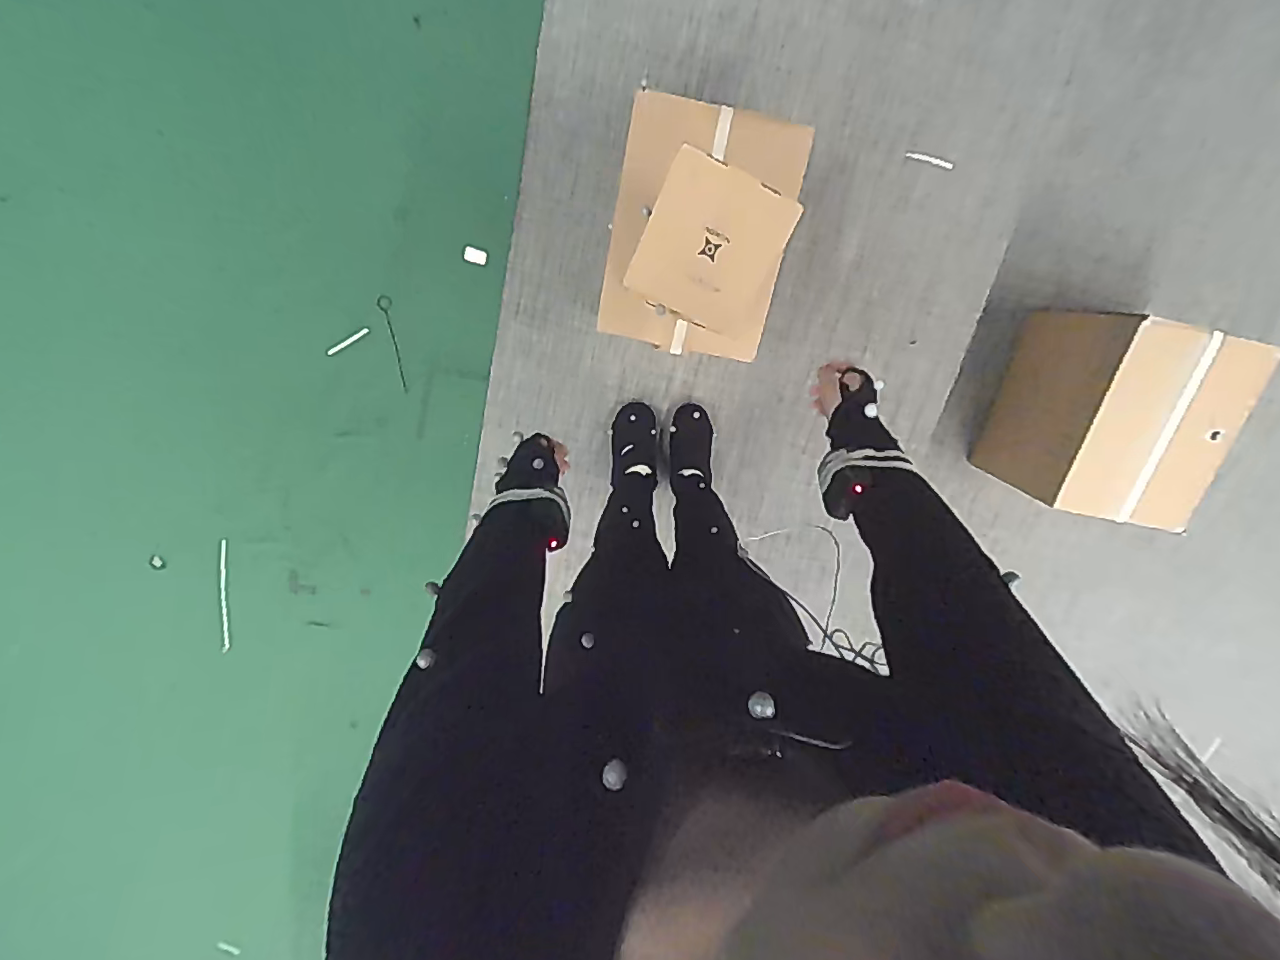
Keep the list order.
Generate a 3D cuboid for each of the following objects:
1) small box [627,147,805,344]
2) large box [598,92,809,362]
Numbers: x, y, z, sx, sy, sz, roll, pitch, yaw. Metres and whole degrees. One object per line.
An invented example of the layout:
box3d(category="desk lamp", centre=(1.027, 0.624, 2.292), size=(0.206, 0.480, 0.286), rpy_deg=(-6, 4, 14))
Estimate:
box3d(category="small box", centre=(0.090, -0.308, 0.737), size=(0.168, 0.176, 0.179), rpy_deg=(24, 108, -8))
box3d(category="large box", centre=(0.104, -0.479, 1.107), size=(0.320, 0.320, 0.408), rpy_deg=(10, 108, -5))
